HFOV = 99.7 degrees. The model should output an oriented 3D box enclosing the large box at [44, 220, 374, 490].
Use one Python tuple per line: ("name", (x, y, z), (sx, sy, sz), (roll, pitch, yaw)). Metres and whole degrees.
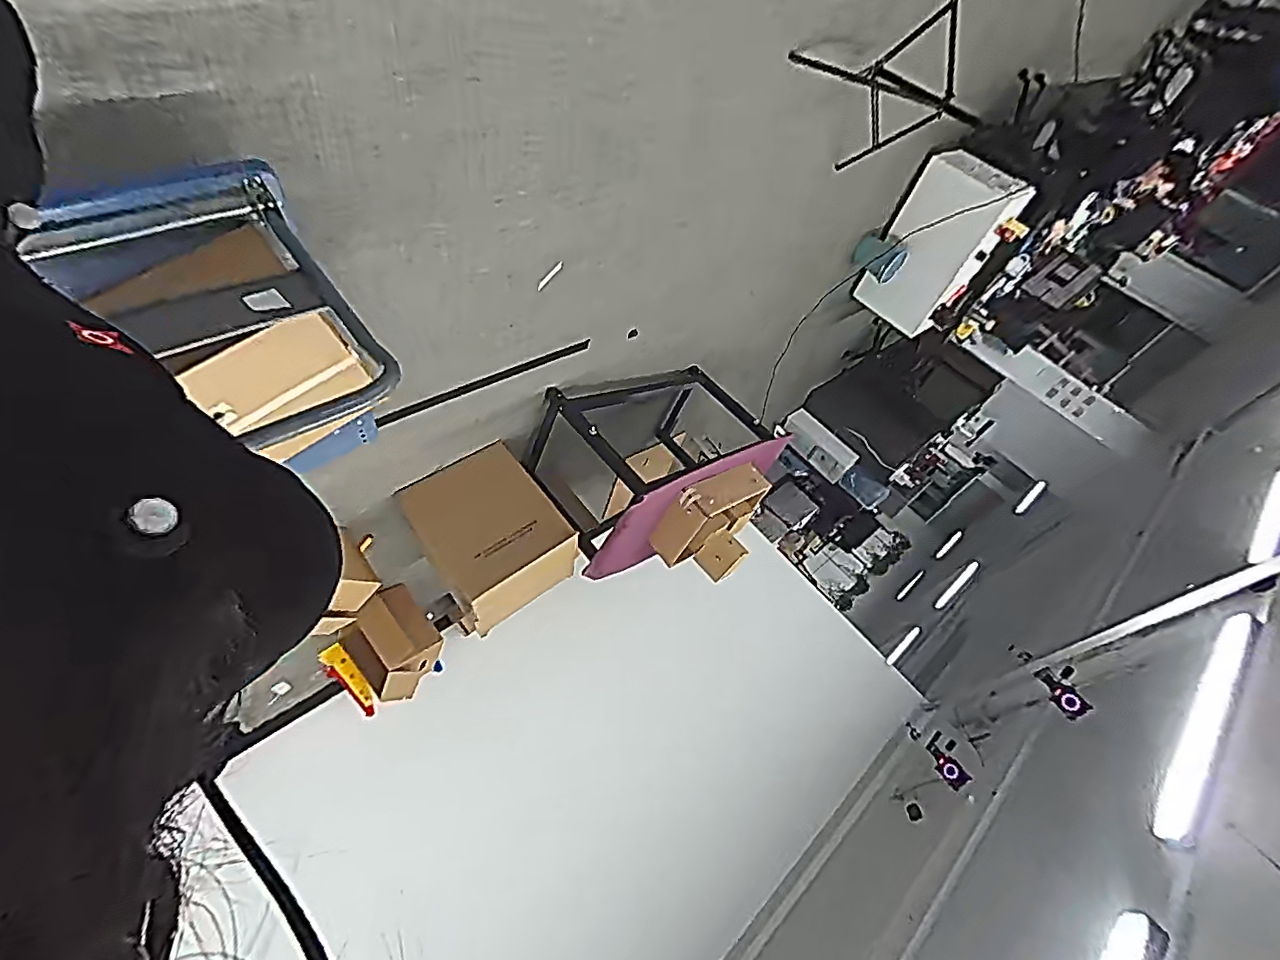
("large box", (-0.874, -0.260, 1.143), (0.408, 0.320, 0.320), (-36, 157, -14))
